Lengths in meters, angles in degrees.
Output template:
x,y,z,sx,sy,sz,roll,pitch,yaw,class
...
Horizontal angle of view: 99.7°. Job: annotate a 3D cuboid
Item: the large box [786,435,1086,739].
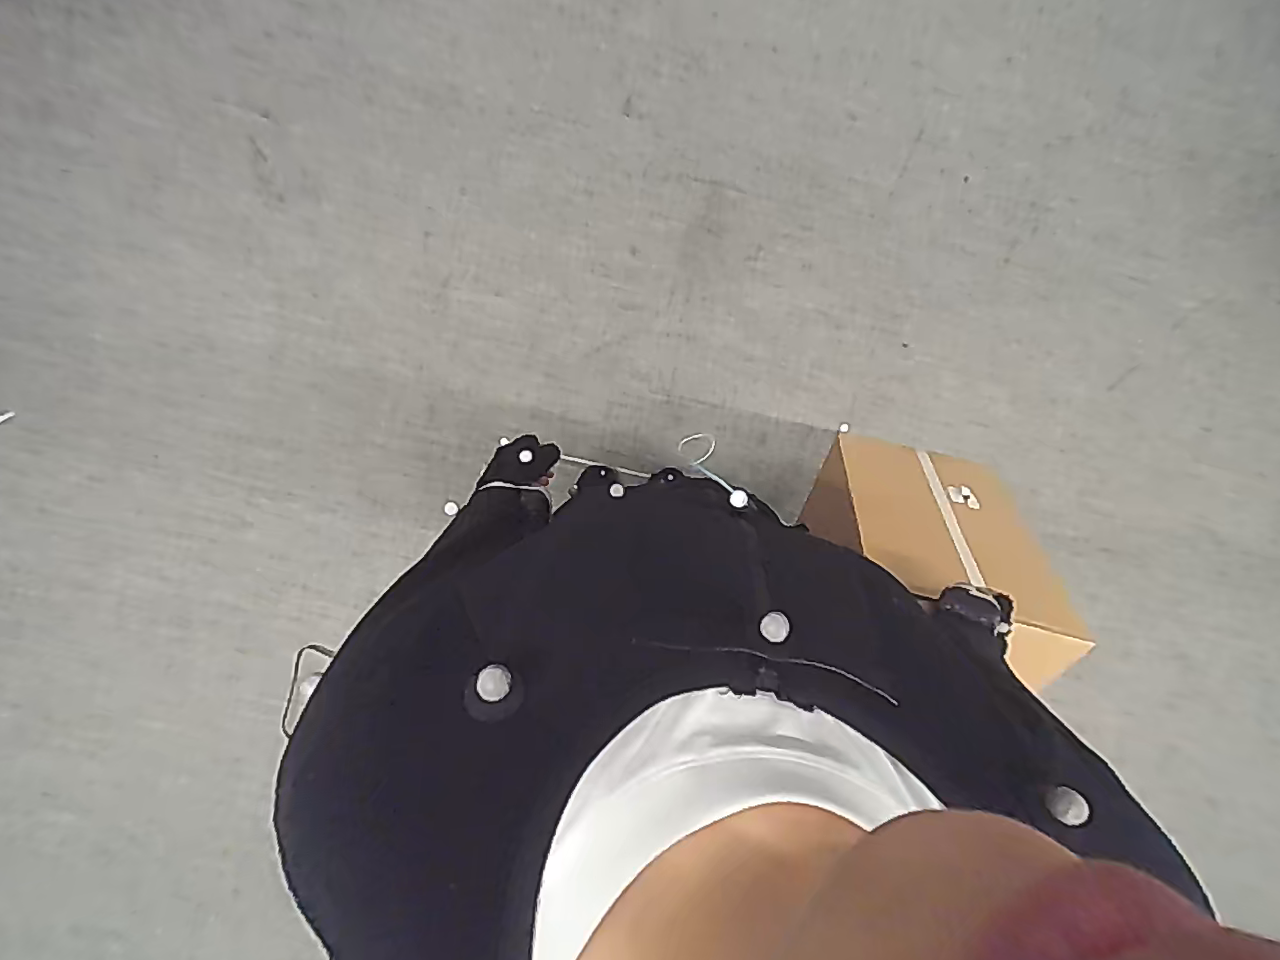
x,y,z,sx,sy,sz,roll,pitch,yaw,class
0.470,0.180,0.983,0.320,0.408,0.320,15,128,2,large box
